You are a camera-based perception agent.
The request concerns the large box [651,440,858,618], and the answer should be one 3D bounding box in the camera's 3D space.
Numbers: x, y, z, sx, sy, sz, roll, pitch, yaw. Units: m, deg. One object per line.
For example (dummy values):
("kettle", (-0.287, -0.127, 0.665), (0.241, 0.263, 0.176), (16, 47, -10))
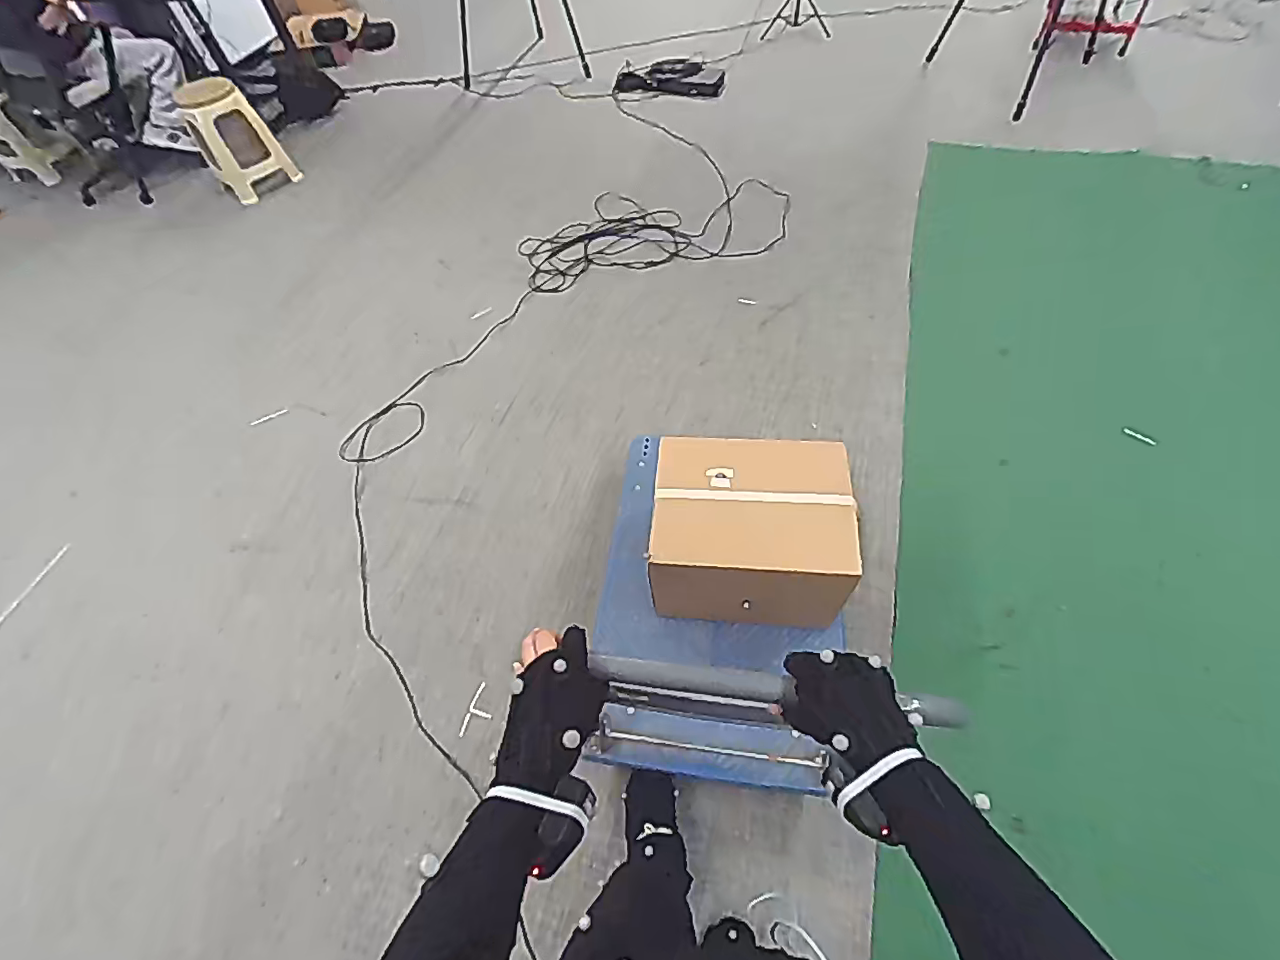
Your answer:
("large box", (0.247, 0.120, 1.252), (0.408, 0.320, 0.320), (1, 57, 8))
